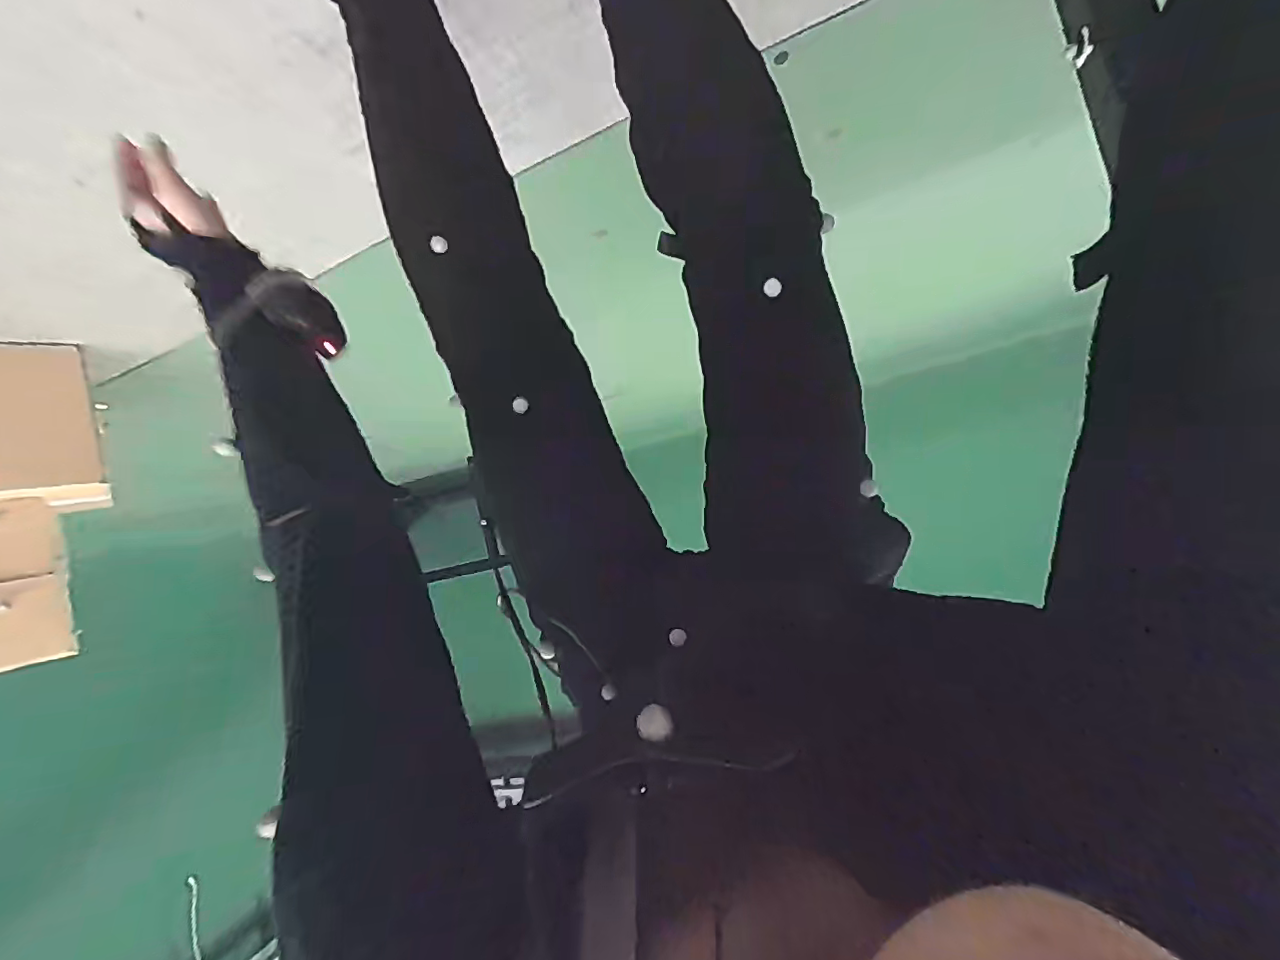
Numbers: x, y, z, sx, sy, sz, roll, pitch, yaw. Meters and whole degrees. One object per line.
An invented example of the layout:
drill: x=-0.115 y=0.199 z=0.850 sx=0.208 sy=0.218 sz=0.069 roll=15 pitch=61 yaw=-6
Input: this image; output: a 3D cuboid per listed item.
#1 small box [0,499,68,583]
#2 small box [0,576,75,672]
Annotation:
small box: x=-1.325 y=0.140 z=1.113 sx=0.168 sy=0.176 sz=0.179 roll=-11 pitch=175 yaw=-38
small box: x=-1.278 y=0.297 z=1.092 sx=0.168 sy=0.176 sz=0.179 roll=-11 pitch=174 yaw=-43
